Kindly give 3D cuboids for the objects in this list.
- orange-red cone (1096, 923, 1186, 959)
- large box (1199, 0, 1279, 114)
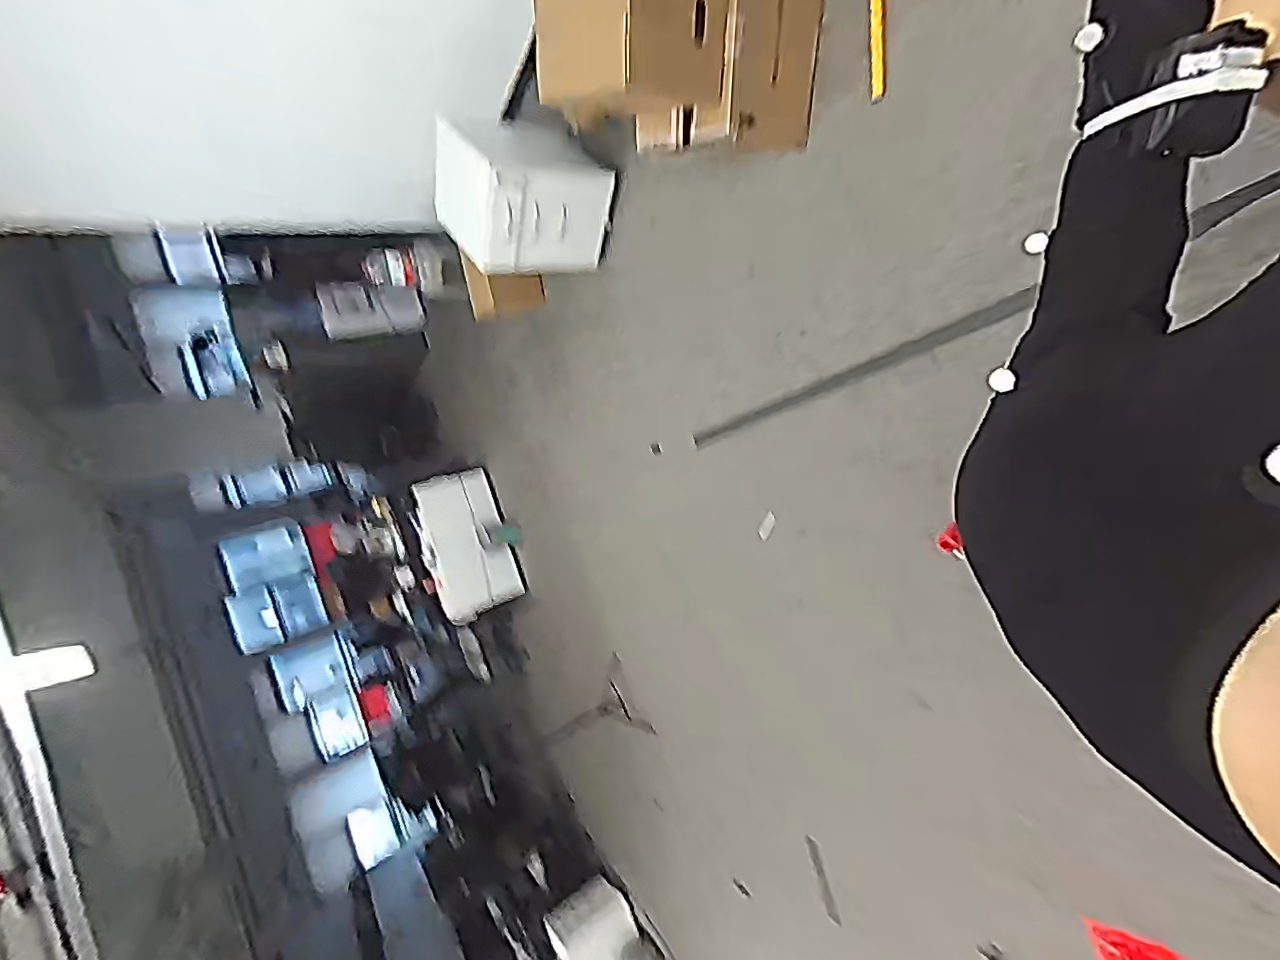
[{"bbox_3d":[1.199,1.331,1.313,0.198,0.360,0.199,-25,85,57],"label":"orange-red cone"},{"bbox_3d":[0.587,-0.431,0.250,0.408,0.320,0.320,14,118,52],"label":"large box"}]
